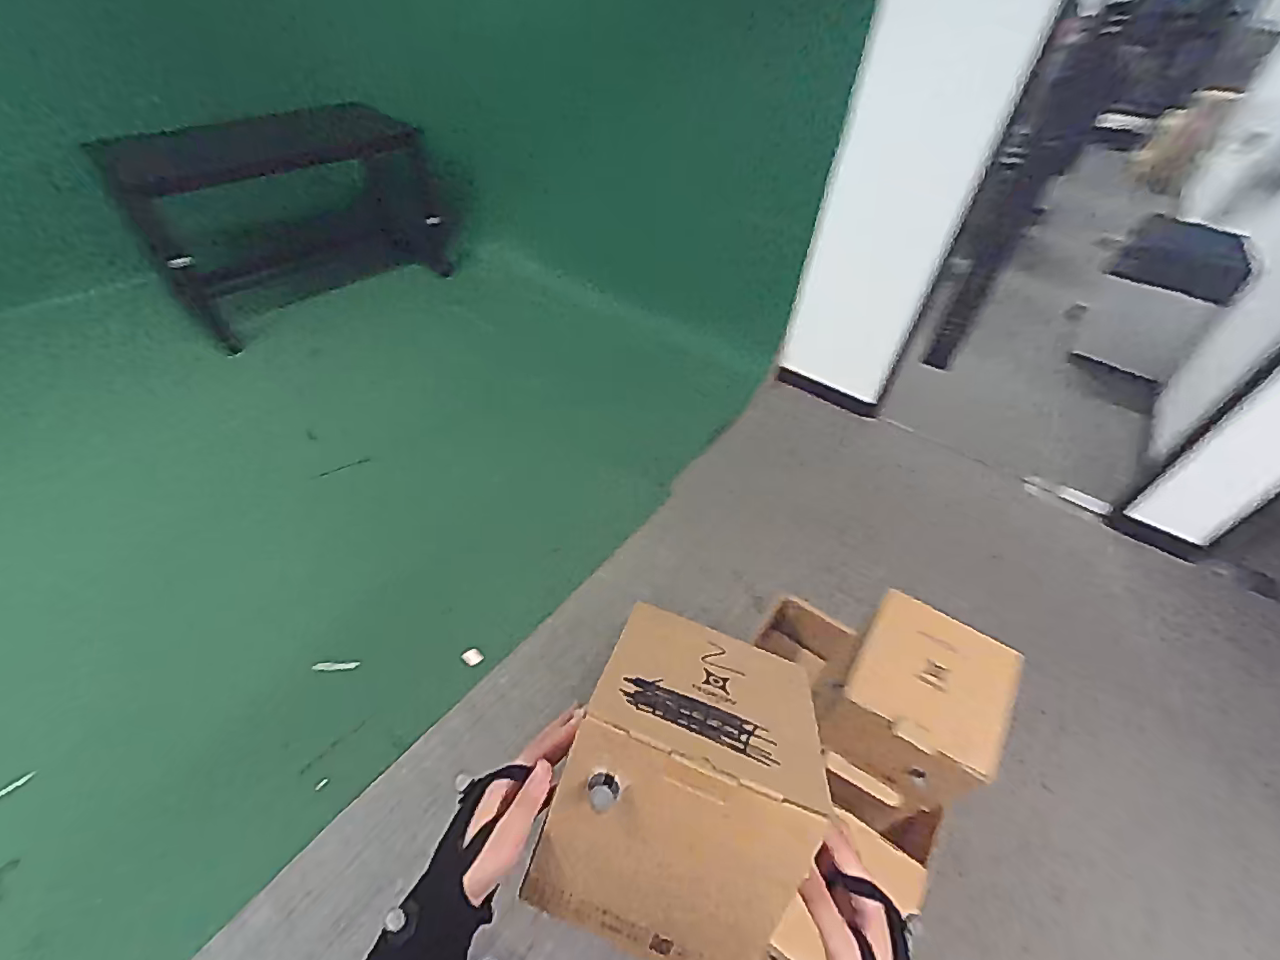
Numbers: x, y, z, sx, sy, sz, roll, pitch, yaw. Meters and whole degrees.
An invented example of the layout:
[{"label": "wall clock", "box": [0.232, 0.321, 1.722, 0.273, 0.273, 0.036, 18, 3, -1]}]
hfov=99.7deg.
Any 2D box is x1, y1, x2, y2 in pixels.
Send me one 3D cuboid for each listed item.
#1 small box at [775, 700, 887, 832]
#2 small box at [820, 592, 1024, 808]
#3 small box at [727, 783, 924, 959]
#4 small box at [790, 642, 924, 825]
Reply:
[{"label": "small box", "box": [0.353, 0.499, 0.957, 0.168, 0.176, 0.179, 28, 55, 20]}, {"label": "small box", "box": [0.355, 0.290, 0.707, 0.168, 0.176, 0.179, 29, 54, 21]}, {"label": "small box", "box": [0.225, 0.538, 0.690, 0.168, 0.176, 0.179, 29, 52, 22]}, {"label": "small box", "box": [0.346, 0.393, 0.833, 0.168, 0.176, 0.179, 26, 53, 20]}]
